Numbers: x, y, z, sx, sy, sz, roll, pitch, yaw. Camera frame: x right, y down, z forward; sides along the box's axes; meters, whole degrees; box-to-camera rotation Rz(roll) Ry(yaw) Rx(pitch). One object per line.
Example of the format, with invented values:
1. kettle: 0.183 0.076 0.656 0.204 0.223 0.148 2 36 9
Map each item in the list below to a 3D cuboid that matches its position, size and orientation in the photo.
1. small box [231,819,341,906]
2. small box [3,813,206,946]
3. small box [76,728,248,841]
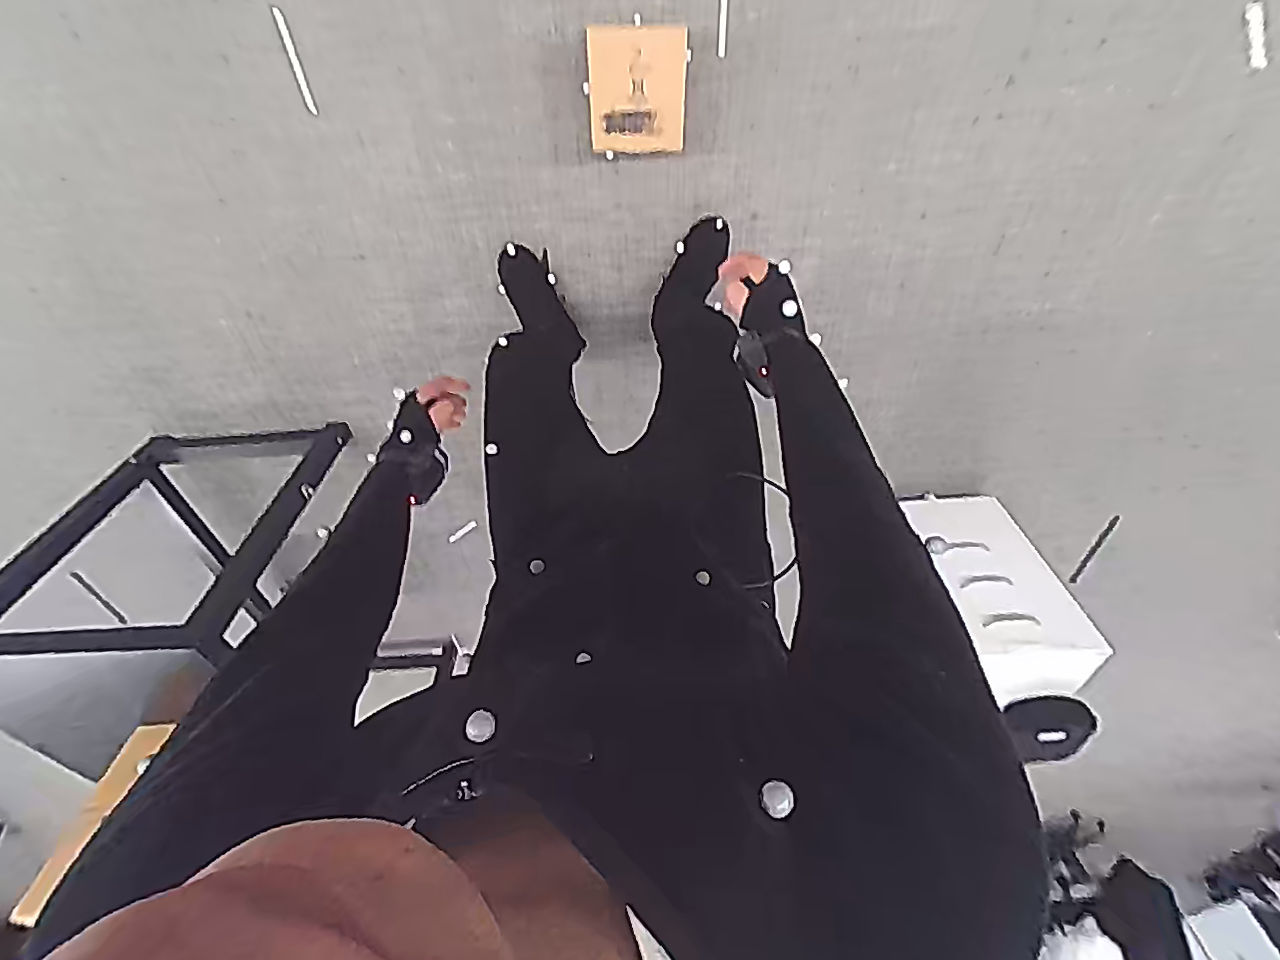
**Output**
1. small box: -0.956 1.053 1.486 0.179 0.176 0.168 -5 130 2
2. small box: -0.981 0.748 1.016 0.168 0.176 0.179 -6 129 3
3. small box: -0.990 0.643 1.142 0.179 0.176 0.168 -3 130 1
